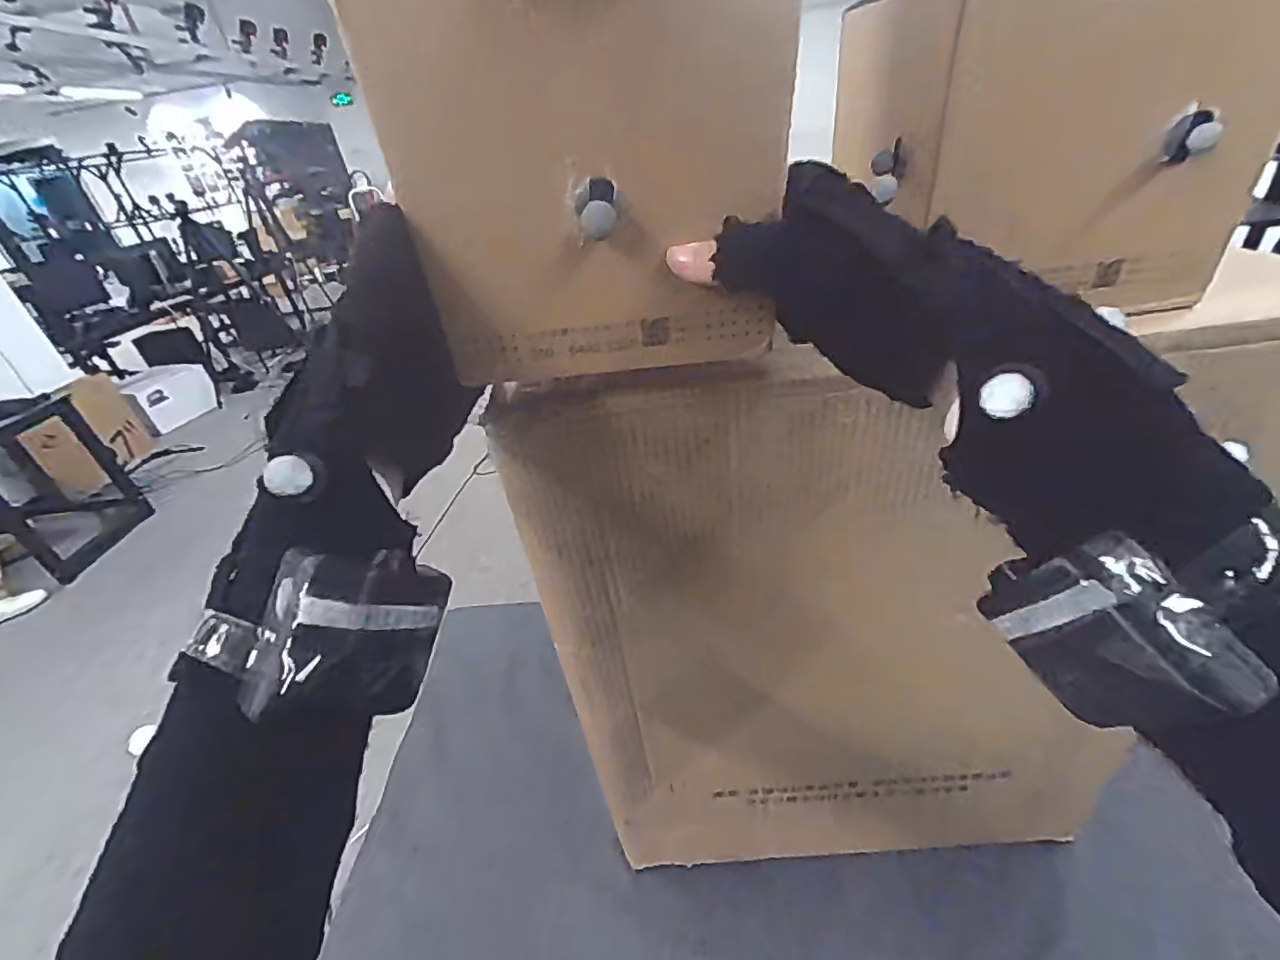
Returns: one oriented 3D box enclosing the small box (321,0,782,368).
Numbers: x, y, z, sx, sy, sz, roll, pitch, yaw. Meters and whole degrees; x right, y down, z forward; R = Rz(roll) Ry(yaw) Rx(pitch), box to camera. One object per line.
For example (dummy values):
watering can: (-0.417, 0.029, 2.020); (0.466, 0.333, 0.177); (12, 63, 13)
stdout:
small box: (-0.025, -0.170, 0.292); (0.168, 0.176, 0.179); (-5, 40, 0)

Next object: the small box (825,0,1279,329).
small box: (0.224, -0.198, 0.334); (0.168, 0.176, 0.179); (-5, 34, 3)
